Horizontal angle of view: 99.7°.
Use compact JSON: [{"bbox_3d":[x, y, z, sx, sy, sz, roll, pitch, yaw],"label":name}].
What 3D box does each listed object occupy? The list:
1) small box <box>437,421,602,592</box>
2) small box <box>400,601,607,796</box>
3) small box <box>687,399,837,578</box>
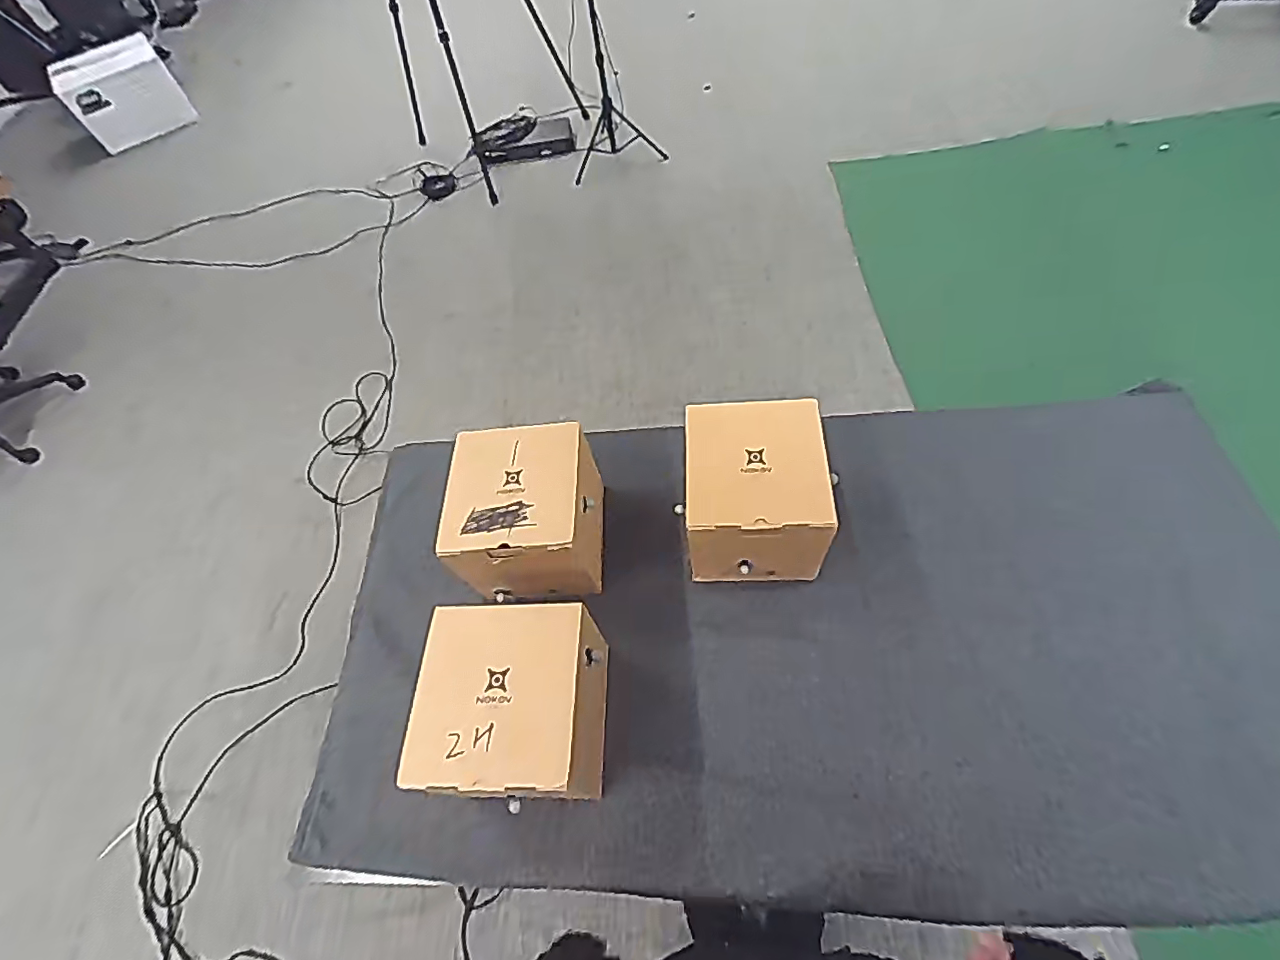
[{"bbox_3d":[-0.146,0.045,0.726,0.168,0.176,0.179,-4,59,5],"label":"small box"},{"bbox_3d":[-0.132,0.248,0.604,0.168,0.176,0.179,-3,58,6],"label":"small box"},{"bbox_3d":[0.145,0.016,0.705,0.168,0.176,0.179,-2,60,7],"label":"small box"}]
